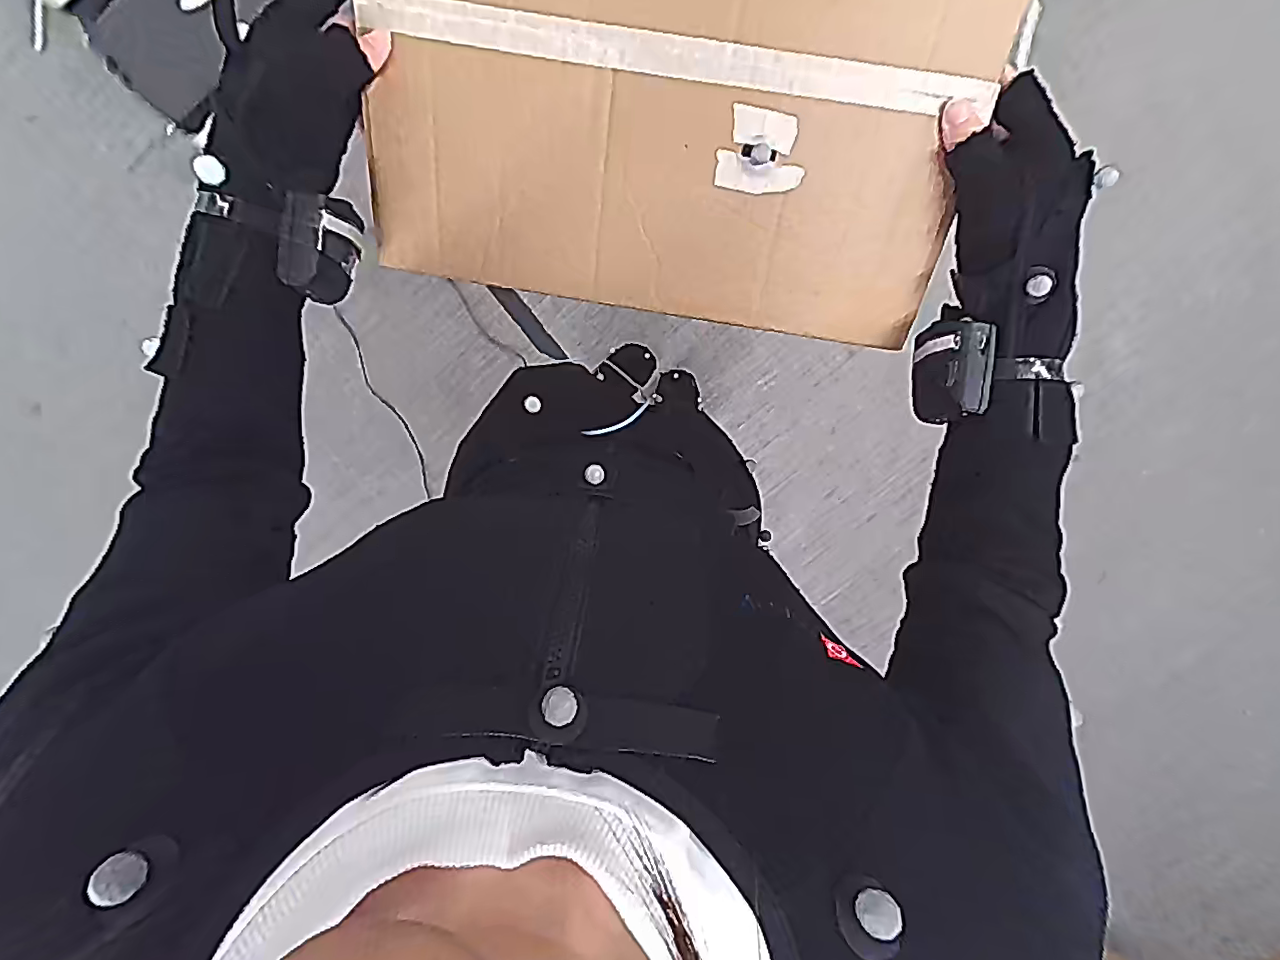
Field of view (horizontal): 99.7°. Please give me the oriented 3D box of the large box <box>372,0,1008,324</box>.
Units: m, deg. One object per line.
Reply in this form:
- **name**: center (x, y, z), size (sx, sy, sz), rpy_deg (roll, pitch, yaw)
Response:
- **large box**: center (0.030, -0.347, 0.482), size (0.408, 0.320, 0.320), rpy_deg (8, 119, 0)
